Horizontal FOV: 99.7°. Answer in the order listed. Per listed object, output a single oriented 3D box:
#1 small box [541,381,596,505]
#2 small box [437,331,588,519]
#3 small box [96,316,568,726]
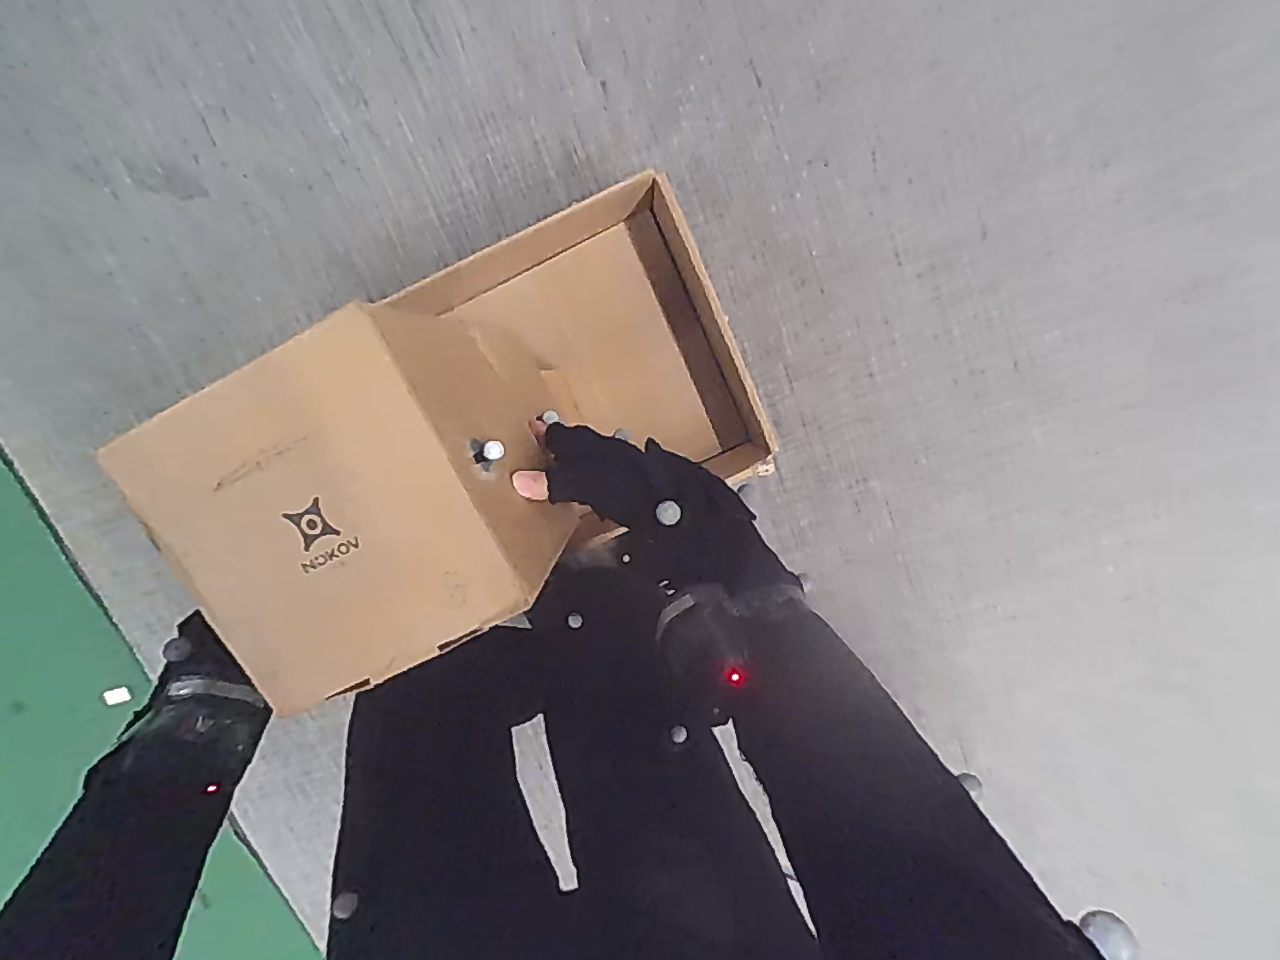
[{"bbox_3d":[-0.171,-0.039,0.782,0.179,0.176,0.168,-22,100,5],"label":"small box"},{"bbox_3d":[-0.164,-0.025,0.515,0.168,0.176,0.179,-29,100,8],"label":"small box"},{"bbox_3d":[-0.164,0.014,0.357,0.168,0.176,0.179,-26,99,6],"label":"small box"}]
